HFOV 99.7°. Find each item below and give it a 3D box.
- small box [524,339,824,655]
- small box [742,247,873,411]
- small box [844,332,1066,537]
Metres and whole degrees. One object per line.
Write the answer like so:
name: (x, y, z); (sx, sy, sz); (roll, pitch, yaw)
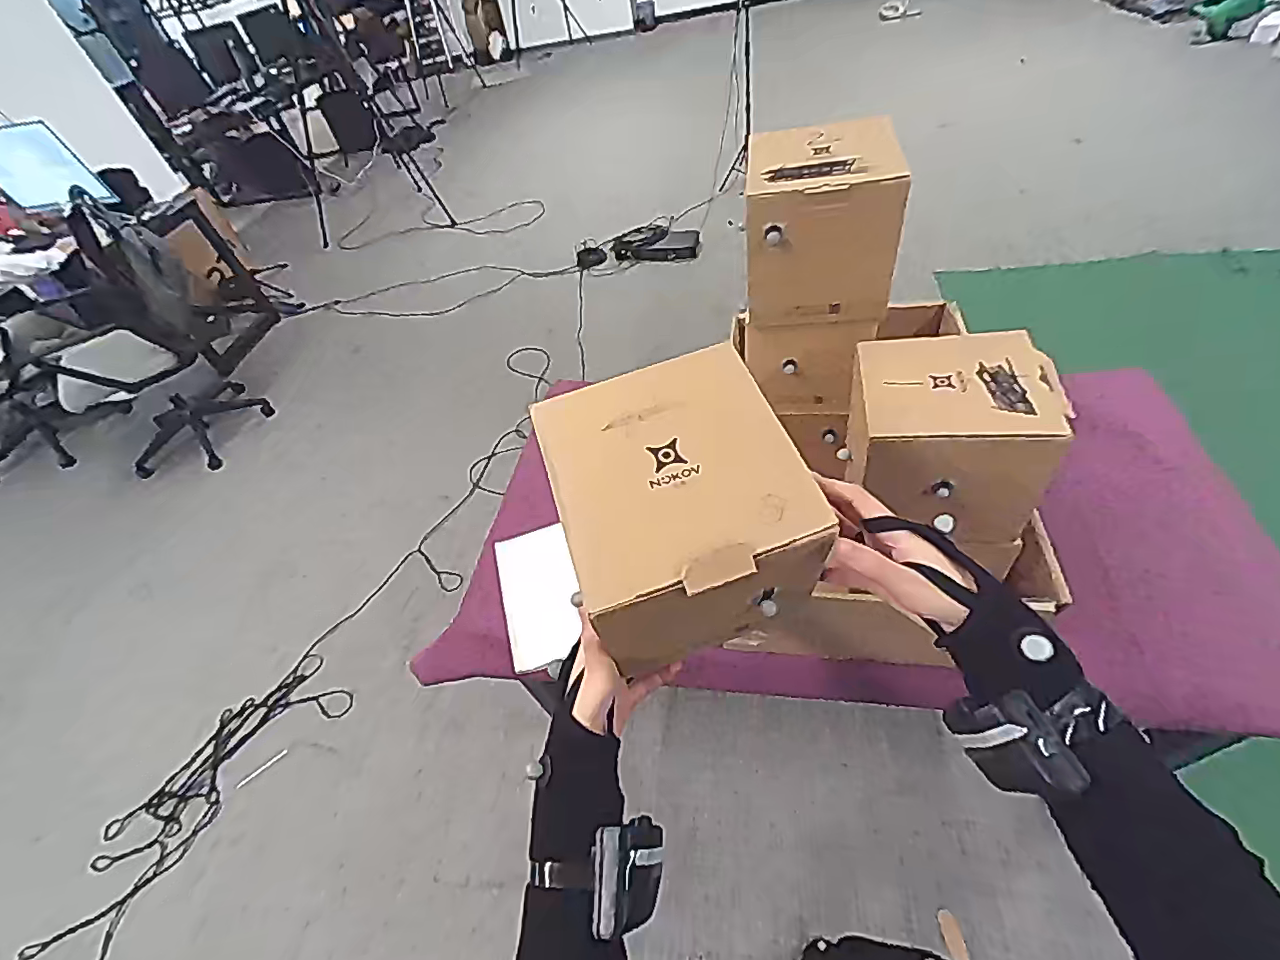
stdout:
small box: (0.023, 0.025, 0.435); (0.168, 0.176, 0.179); (-18, 57, -4)
small box: (0.244, -0.217, 0.803); (0.168, 0.176, 0.179); (2, 51, 14)
small box: (0.336, -0.048, 0.622); (0.179, 0.176, 0.168); (0, 48, 16)
